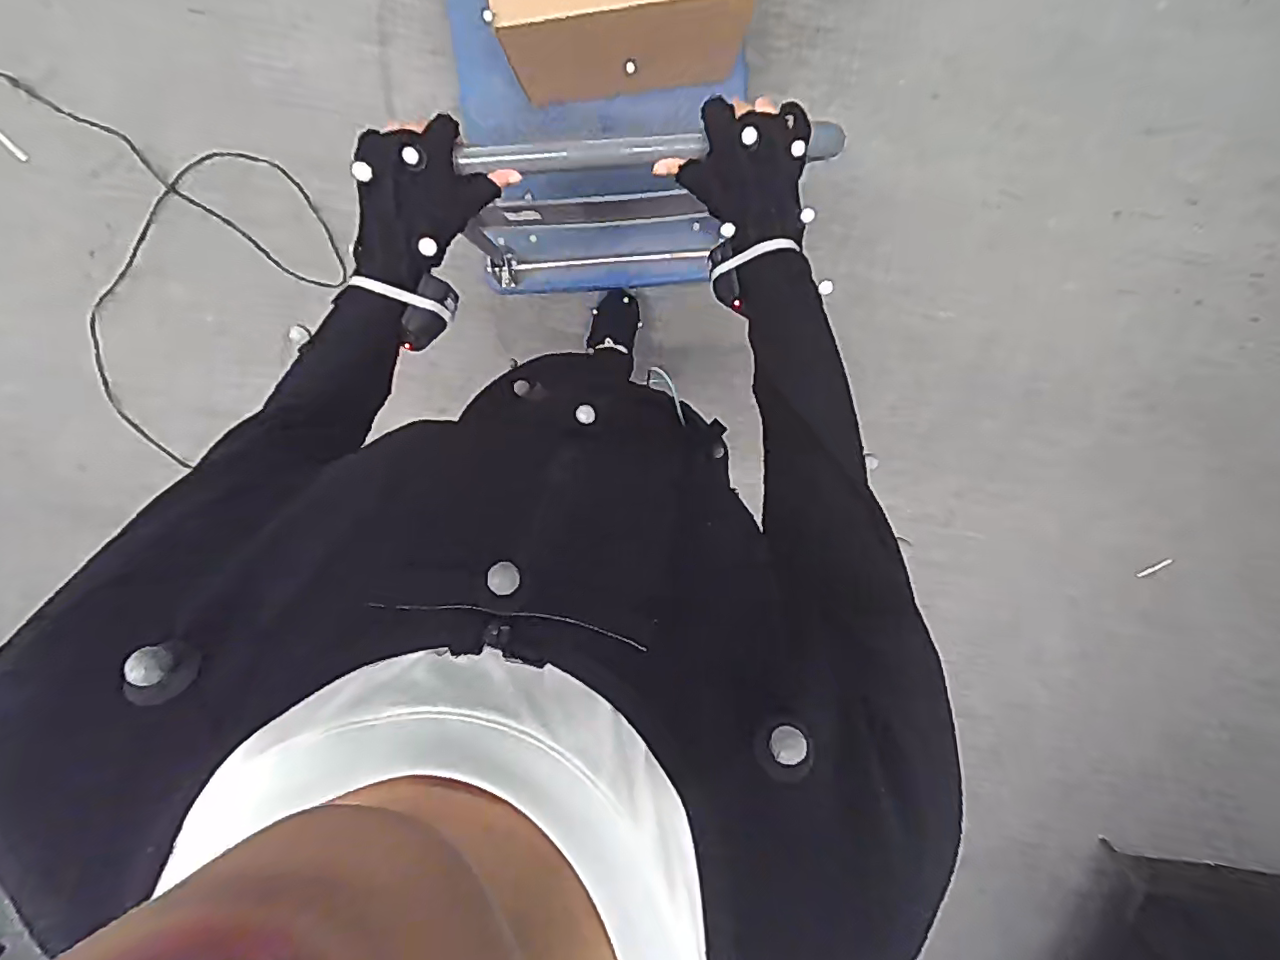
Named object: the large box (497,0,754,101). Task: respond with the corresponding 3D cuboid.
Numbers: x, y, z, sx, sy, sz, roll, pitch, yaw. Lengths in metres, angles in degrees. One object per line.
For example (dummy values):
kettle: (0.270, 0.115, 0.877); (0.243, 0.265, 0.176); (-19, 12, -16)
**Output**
large box: (-0.035, -0.903, 0.915); (0.408, 0.320, 0.320); (-8, 105, 3)
